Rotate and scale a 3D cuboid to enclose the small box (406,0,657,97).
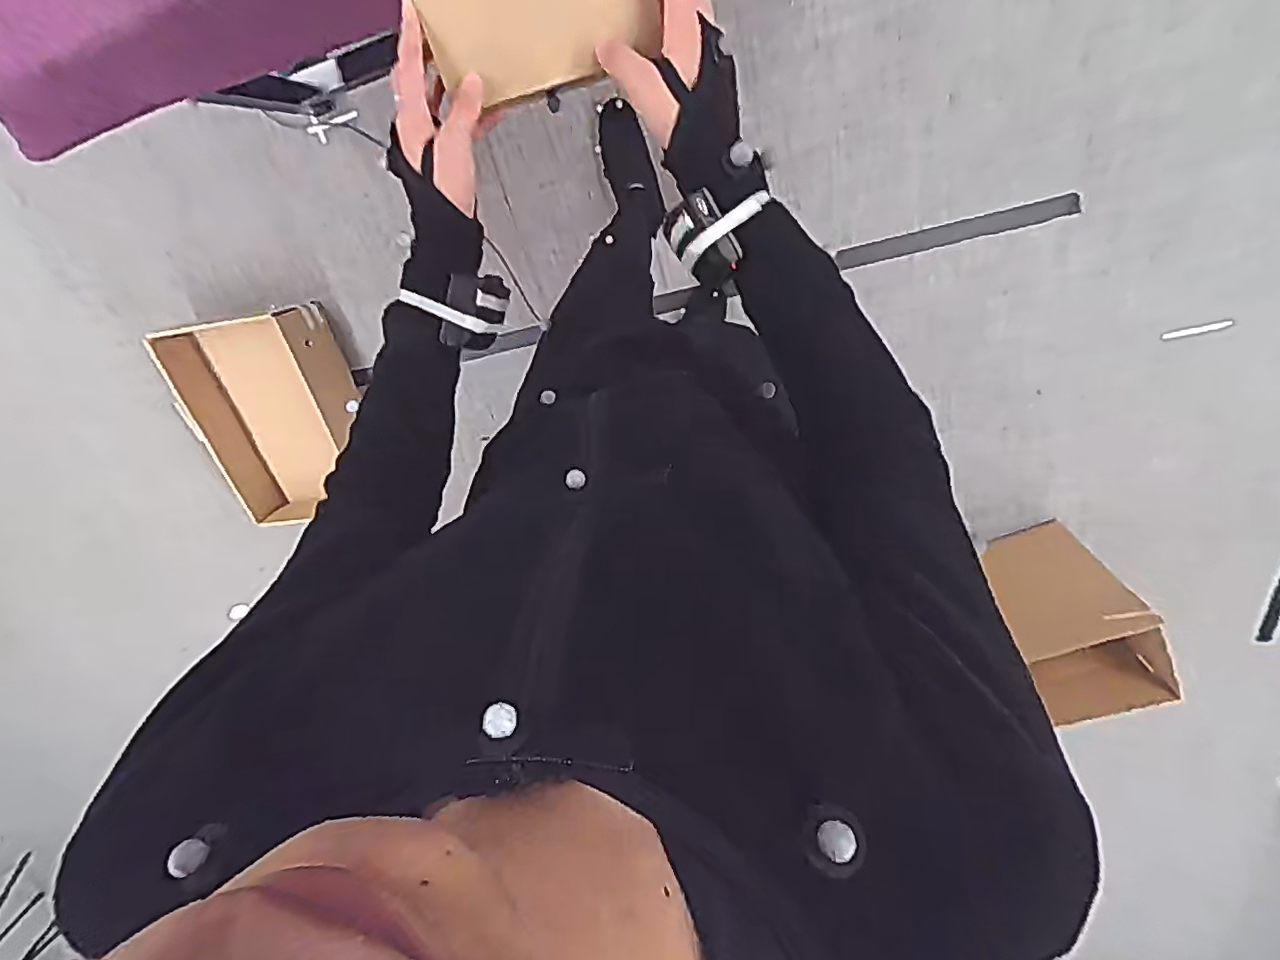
[{"bbox_3d":[-0.093,-0.424,0.431,0.179,0.176,0.168,-14,125,4],"label":"small box"}]
